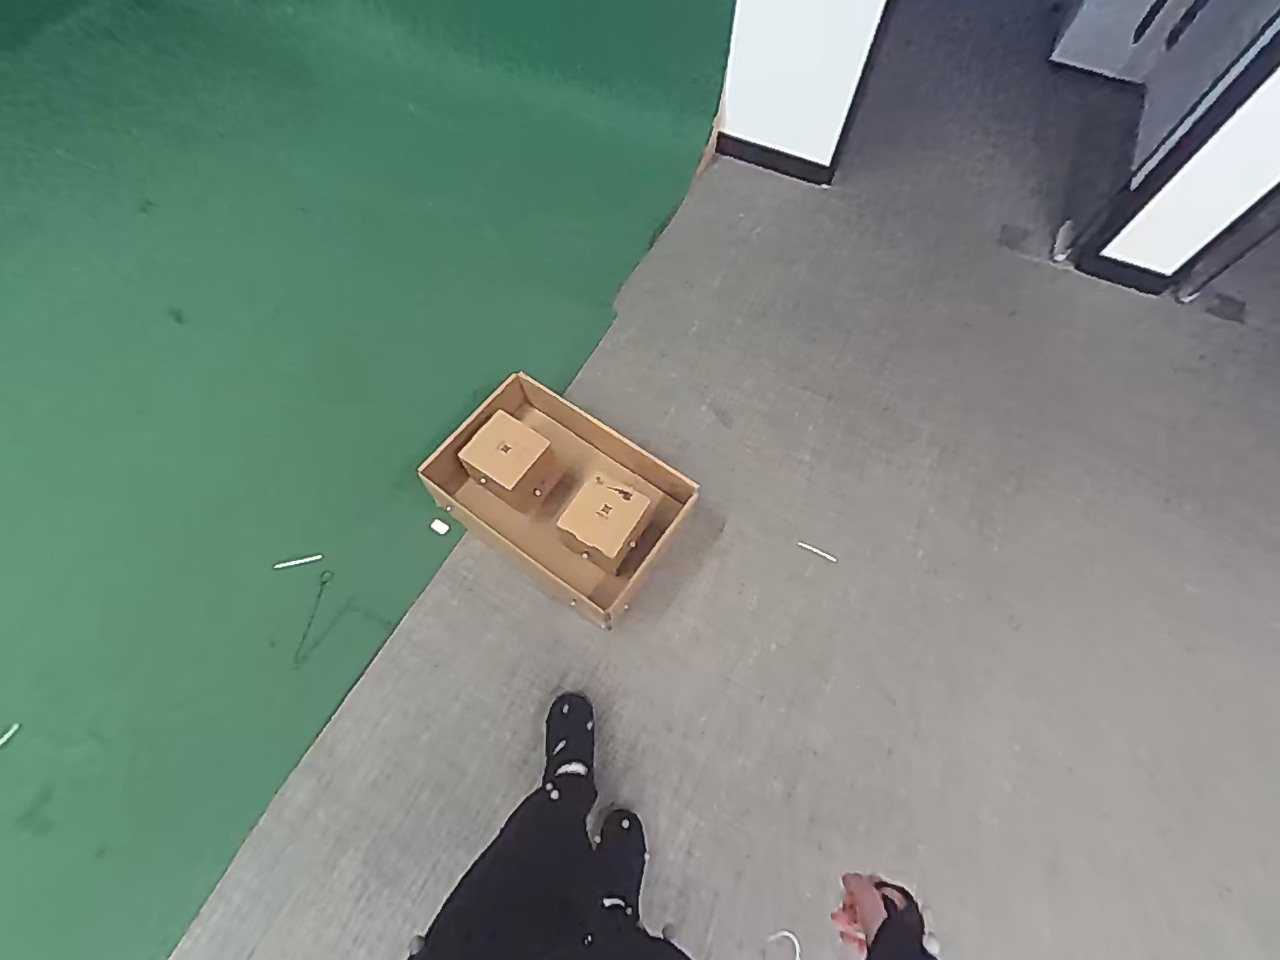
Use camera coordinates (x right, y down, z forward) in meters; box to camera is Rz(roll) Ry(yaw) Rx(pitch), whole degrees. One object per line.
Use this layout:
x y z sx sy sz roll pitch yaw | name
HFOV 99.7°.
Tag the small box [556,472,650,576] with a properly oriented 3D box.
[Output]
-0.086 0.117 1.364 0.168 0.176 0.179 30 69 12 | small box
